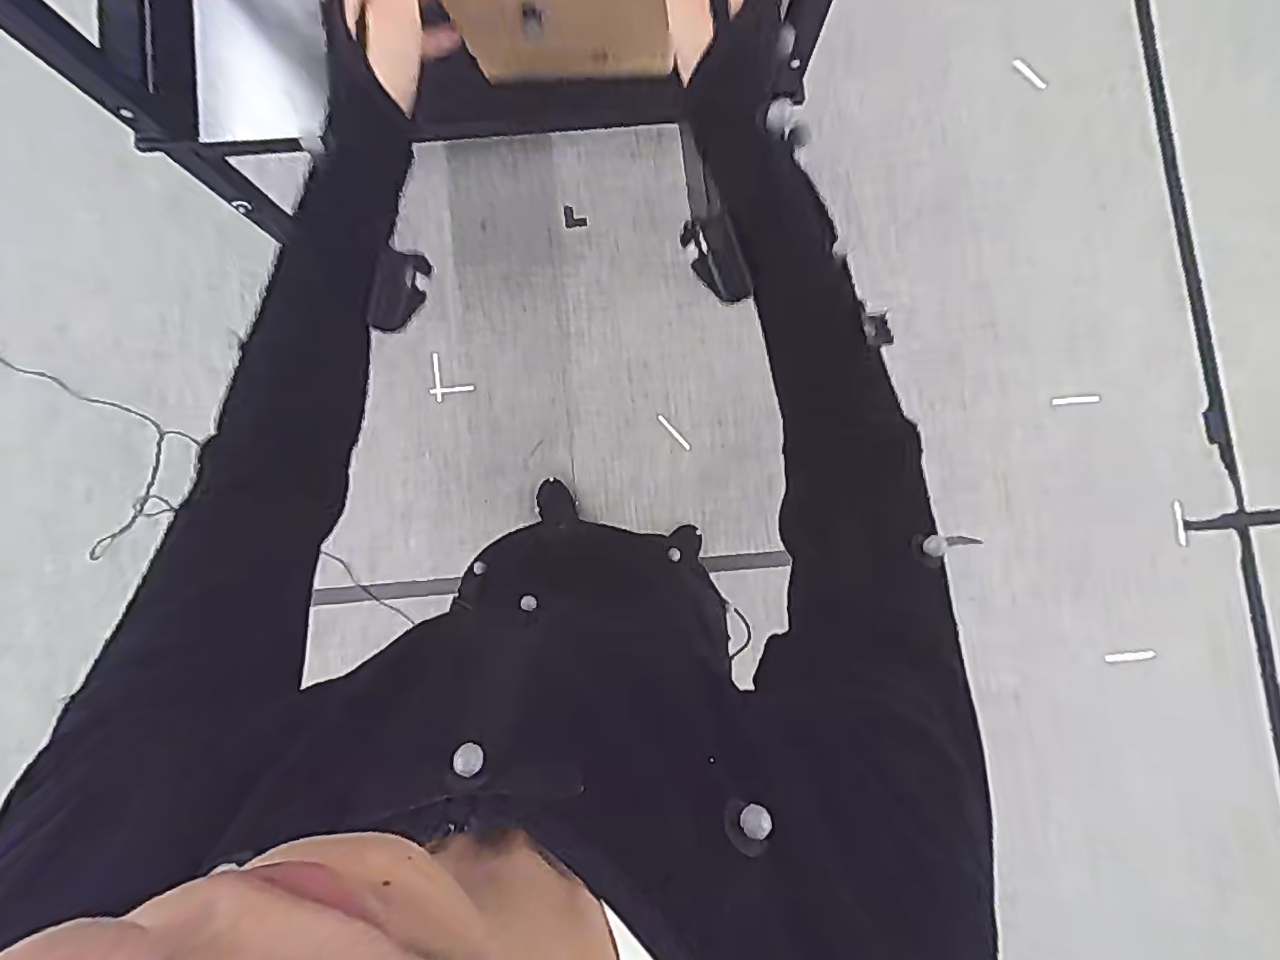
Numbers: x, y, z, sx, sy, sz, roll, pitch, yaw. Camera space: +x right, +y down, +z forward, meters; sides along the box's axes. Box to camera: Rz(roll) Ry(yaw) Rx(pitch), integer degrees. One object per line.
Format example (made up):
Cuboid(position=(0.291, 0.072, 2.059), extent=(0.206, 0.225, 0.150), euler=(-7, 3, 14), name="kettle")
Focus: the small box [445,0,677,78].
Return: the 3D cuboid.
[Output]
Cuboid(position=(-0.056, -0.420, 0.388), extent=(0.168, 0.176, 0.179), euler=(-1, 102, 2), name="small box")
